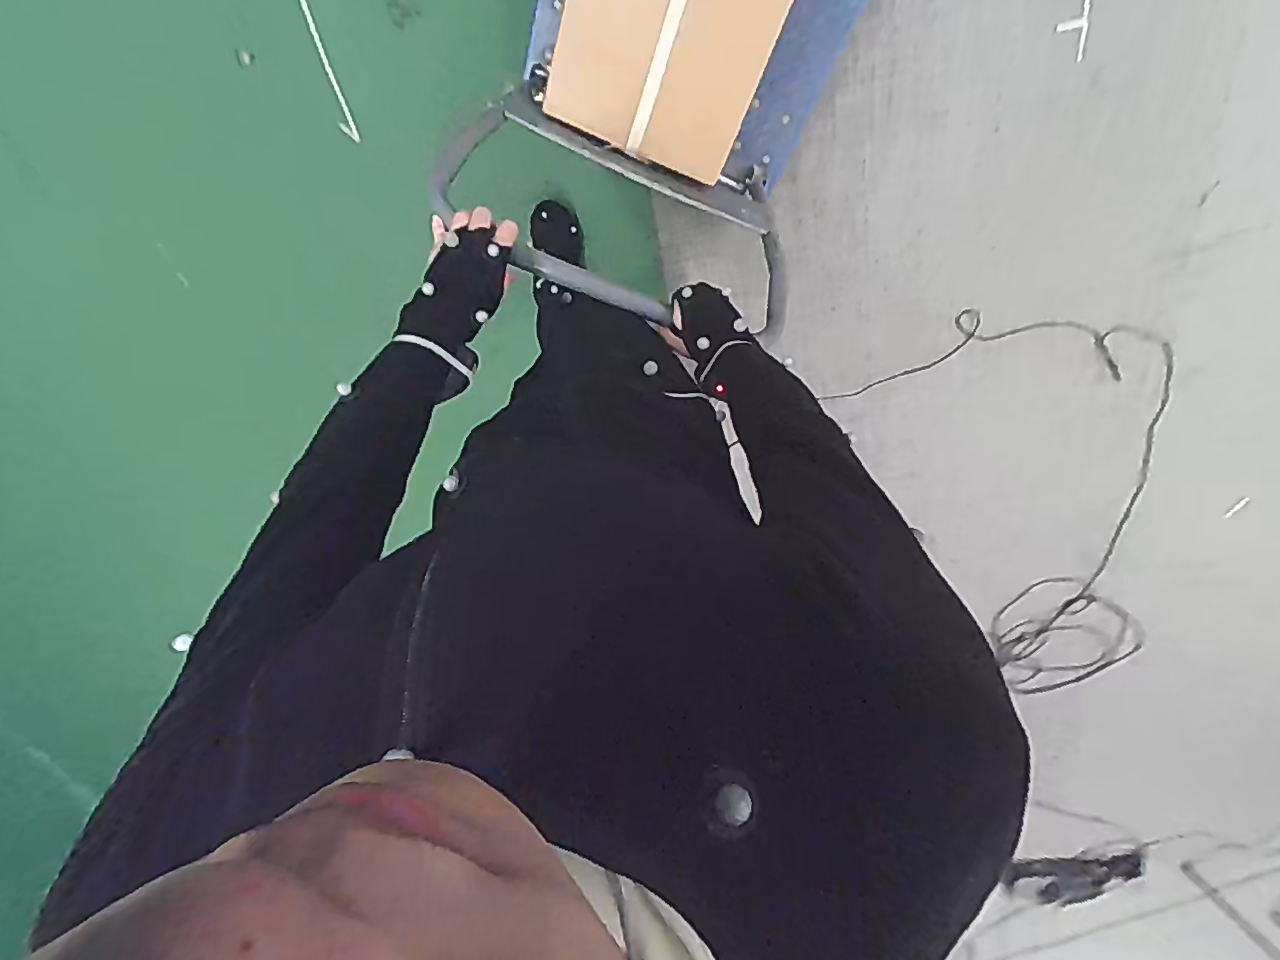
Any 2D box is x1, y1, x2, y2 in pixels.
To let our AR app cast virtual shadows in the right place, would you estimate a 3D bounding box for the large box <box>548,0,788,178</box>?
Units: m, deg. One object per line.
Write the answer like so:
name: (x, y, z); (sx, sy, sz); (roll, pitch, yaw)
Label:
large box: (0.065, -0.805, 0.917); (0.320, 0.320, 0.408); (18, 129, -11)
